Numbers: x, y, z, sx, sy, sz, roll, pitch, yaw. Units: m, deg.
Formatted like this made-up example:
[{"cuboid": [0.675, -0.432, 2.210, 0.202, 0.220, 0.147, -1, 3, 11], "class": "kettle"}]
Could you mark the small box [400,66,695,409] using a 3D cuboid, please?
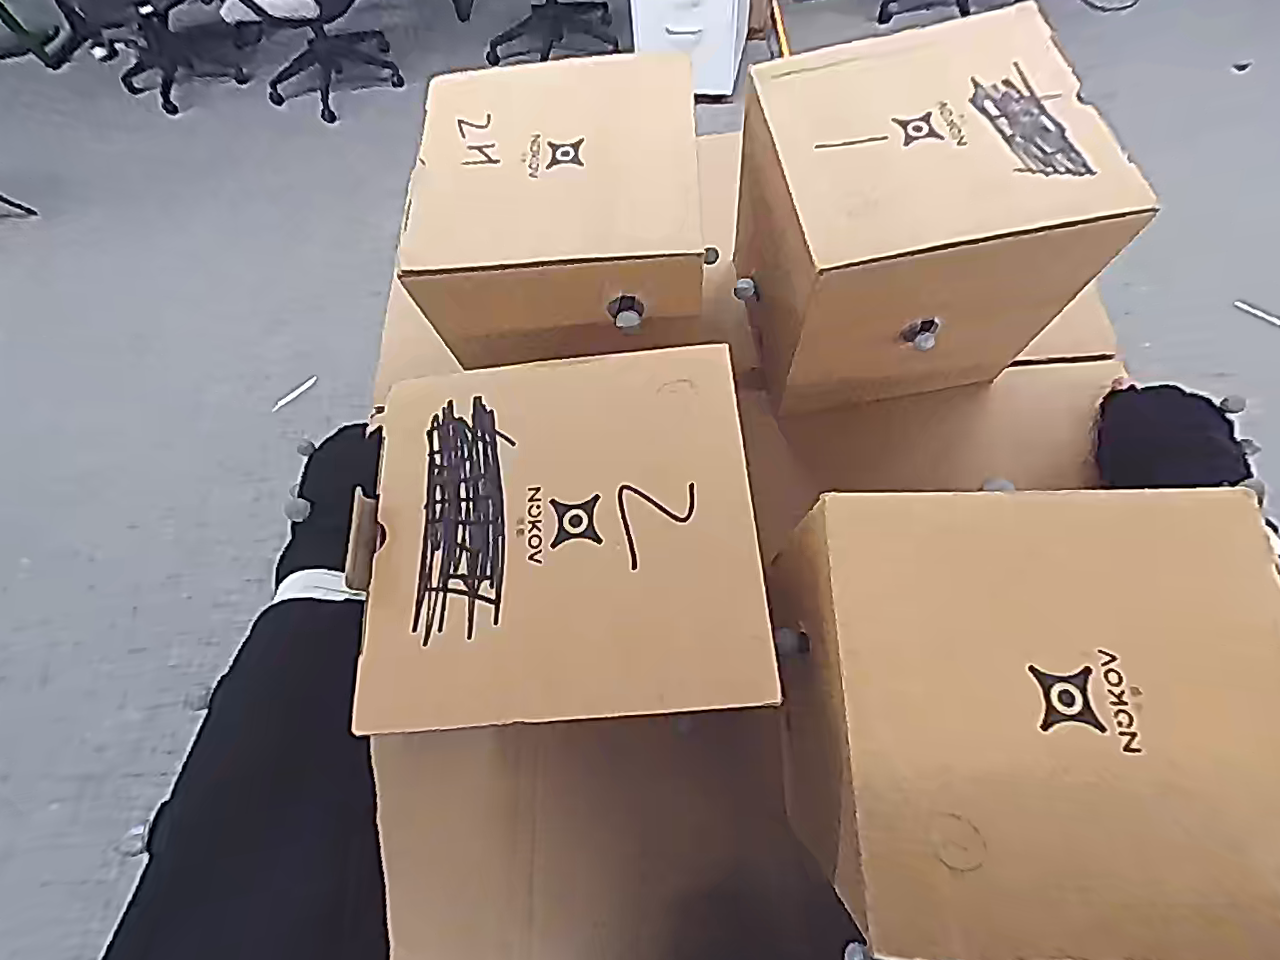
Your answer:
[{"cuboid": [-0.049, -0.166, 0.413, 0.179, 0.176, 0.168, -3, 69, 6], "class": "small box"}]
